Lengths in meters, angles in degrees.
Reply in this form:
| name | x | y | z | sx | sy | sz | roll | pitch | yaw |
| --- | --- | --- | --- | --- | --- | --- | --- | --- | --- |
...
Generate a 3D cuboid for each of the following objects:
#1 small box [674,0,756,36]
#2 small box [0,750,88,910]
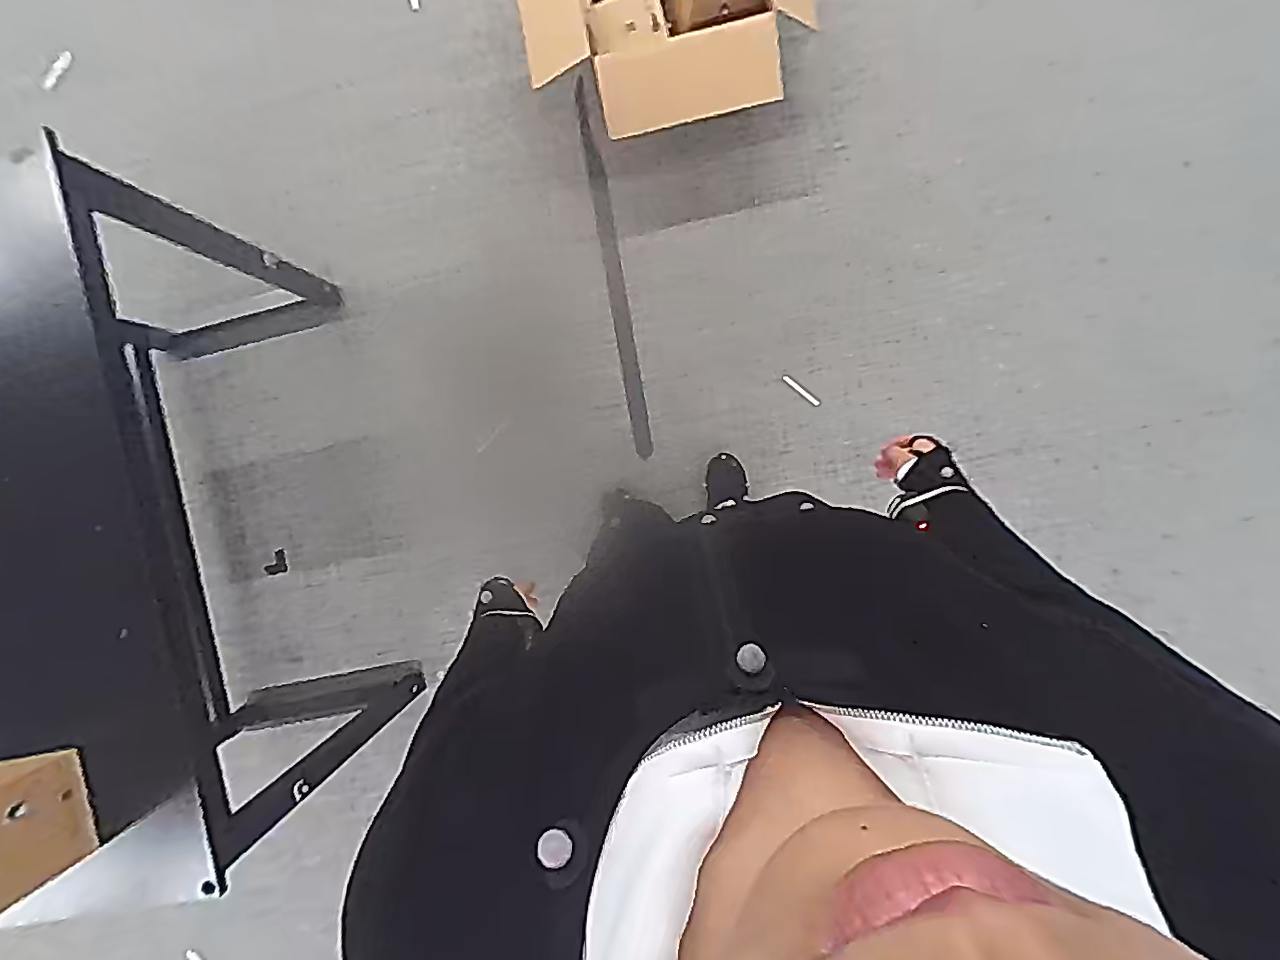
| name | x | y | z | sx | sy | sz | roll | pitch | yaw |
| --- | --- | --- | --- | --- | --- | --- | --- | --- | --- |
| small box | 0.161 | -1.118 | 1.176 | 0.168 | 0.176 | 0.179 | -17 | 92 | 1 |
| small box | -0.958 | 0.517 | 0.780 | 0.179 | 0.176 | 0.168 | -12 | 90 | 5 |
